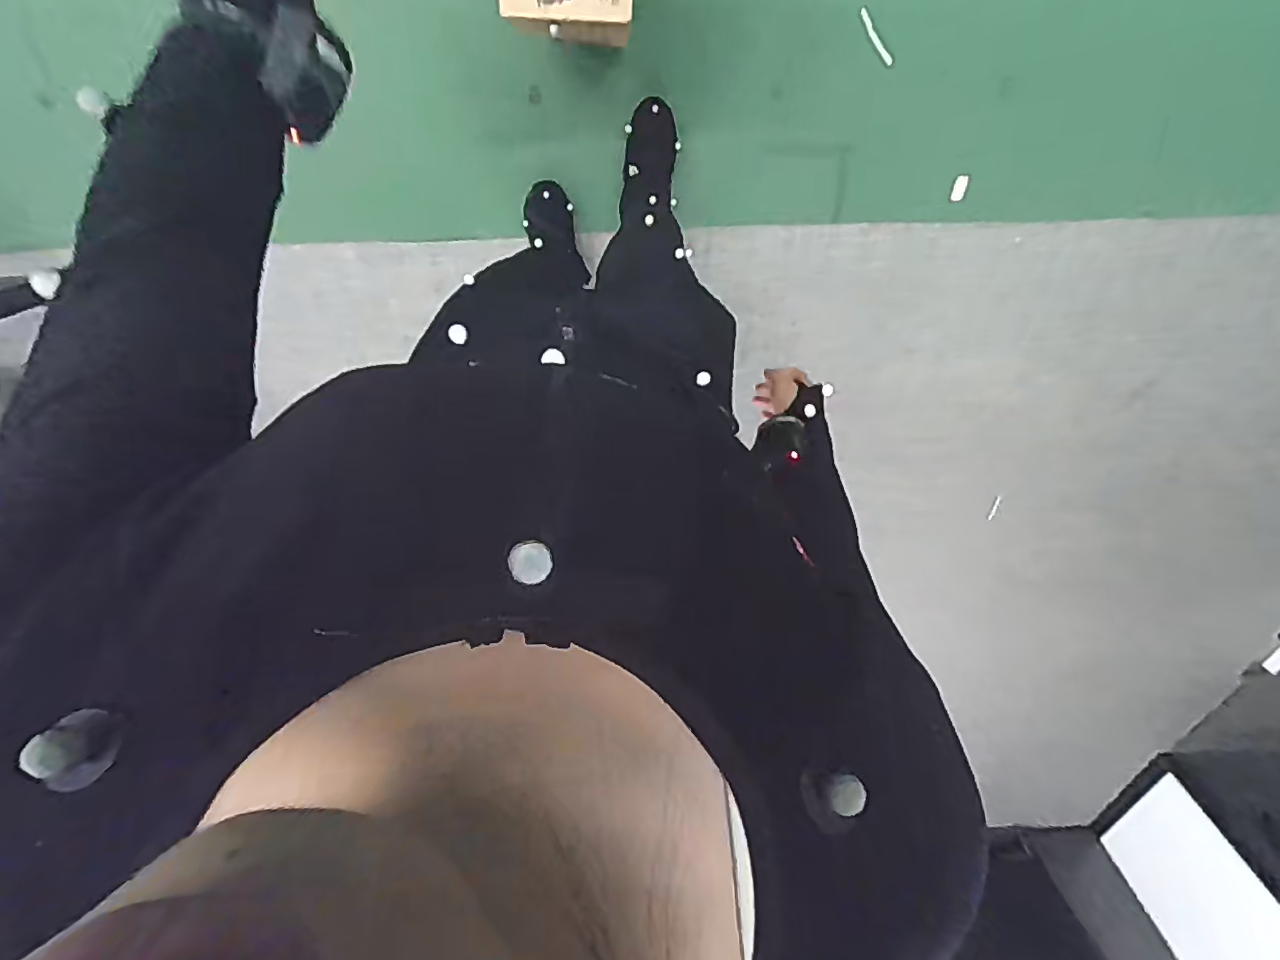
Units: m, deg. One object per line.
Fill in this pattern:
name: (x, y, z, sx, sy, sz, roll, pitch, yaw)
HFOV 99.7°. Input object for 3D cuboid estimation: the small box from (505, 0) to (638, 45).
small box: (-0.087, -0.684, 0.693, 0.168, 0.176, 0.179, 0, 124, -4)

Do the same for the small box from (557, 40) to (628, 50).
small box: (-0.094, -0.882, 0.955, 0.168, 0.176, 0.179, 4, 125, -6)
